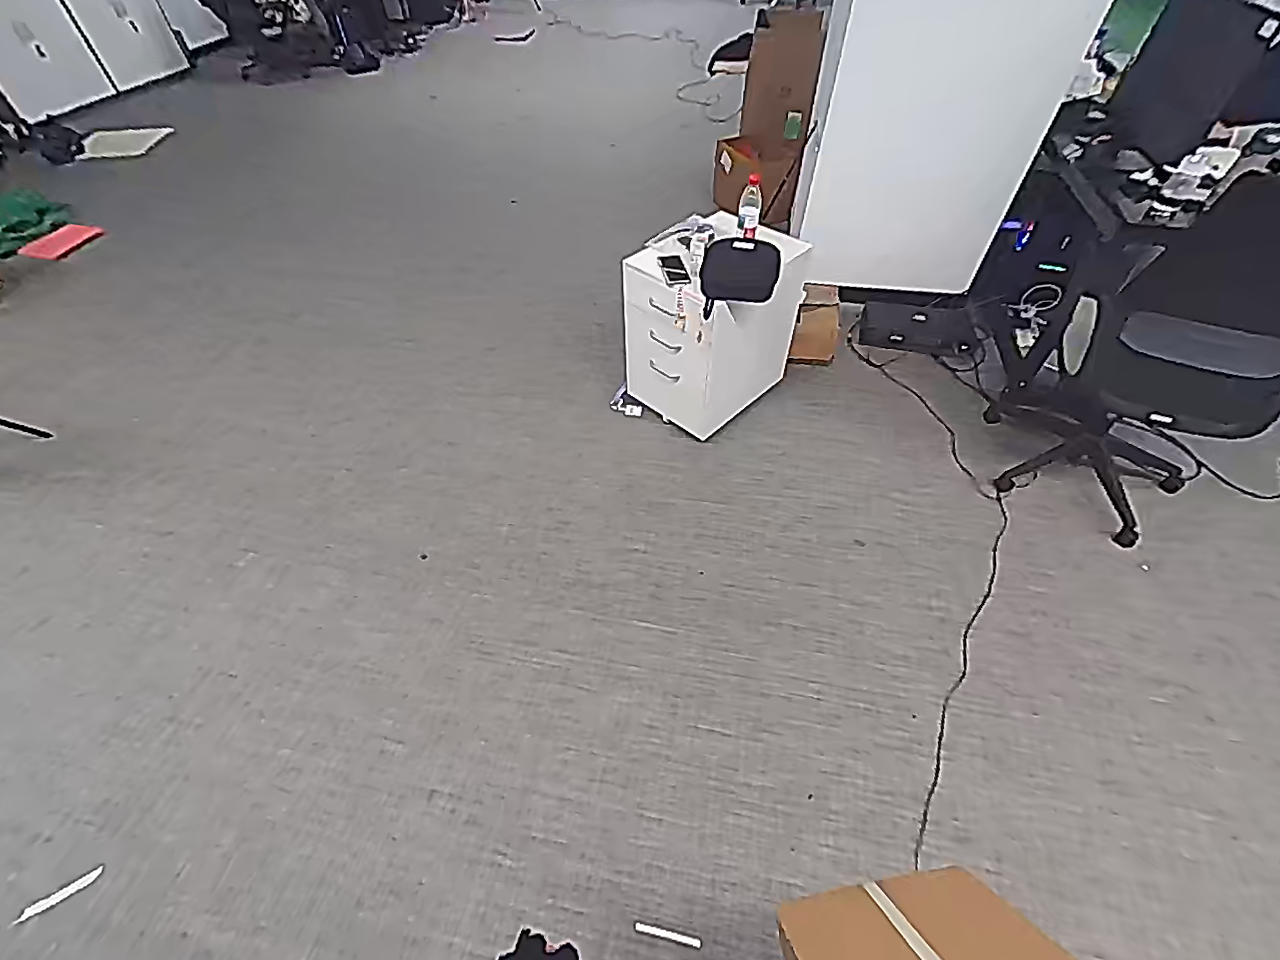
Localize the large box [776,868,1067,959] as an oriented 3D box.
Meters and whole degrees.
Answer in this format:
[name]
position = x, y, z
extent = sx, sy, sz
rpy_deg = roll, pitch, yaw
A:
[large box]
position = 0.394, 0.755, 0.637
extent = 0.320, 0.408, 0.320
rpy_deg = -10, 80, -4
